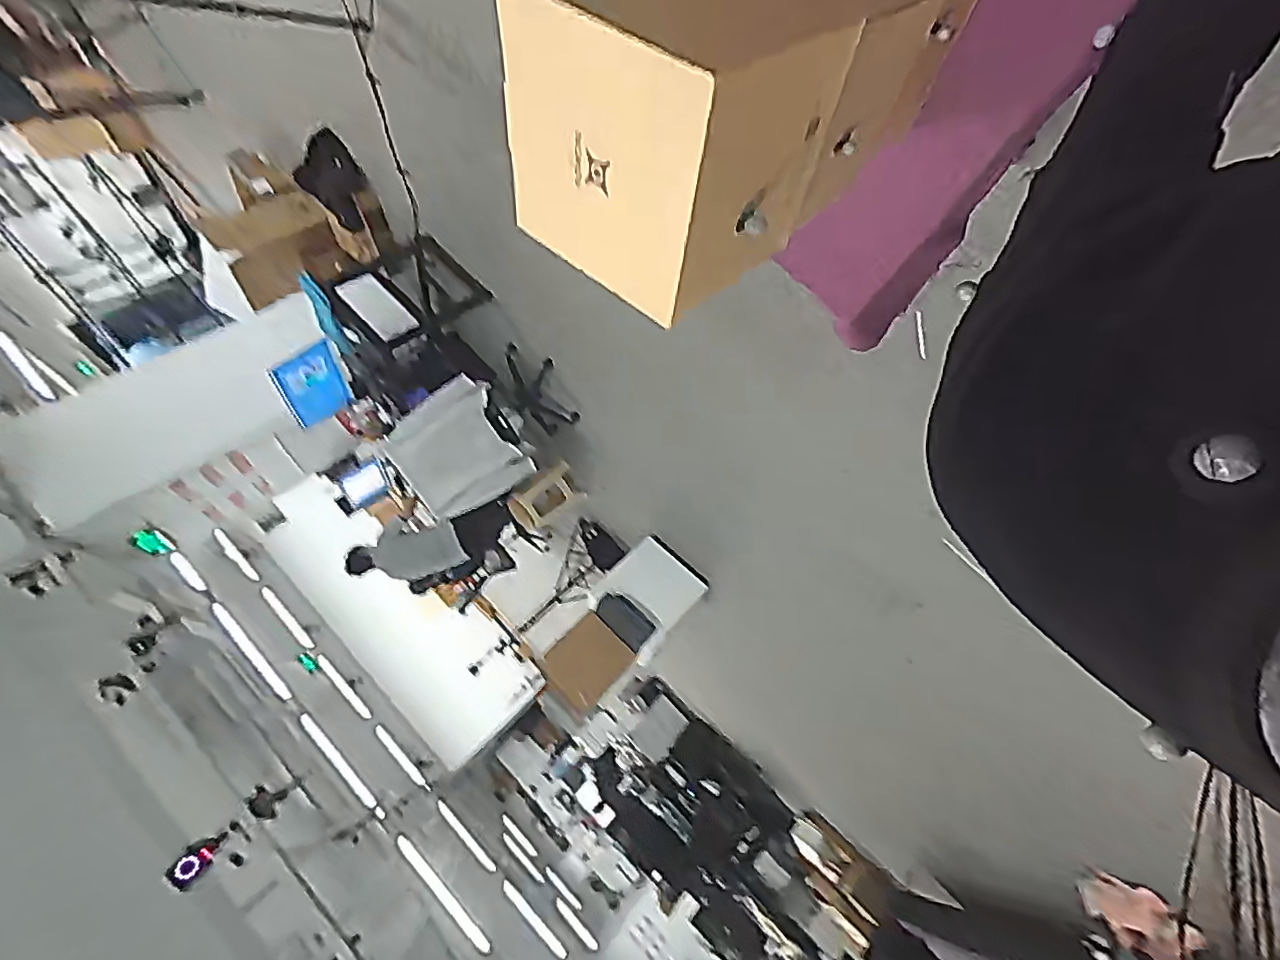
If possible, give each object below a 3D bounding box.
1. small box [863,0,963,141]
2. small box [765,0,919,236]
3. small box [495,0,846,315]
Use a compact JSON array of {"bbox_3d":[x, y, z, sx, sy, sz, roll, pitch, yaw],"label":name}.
[{"bbox_3d":[0.212,-0.480,0.569,0.179,0.176,0.168,42,152,15],"label":"small box"},{"bbox_3d":[0.119,-0.366,0.493,0.168,0.176,0.179,42,152,14],"label":"small box"},{"bbox_3d":[0.020,-0.267,0.409,0.179,0.176,0.168,40,151,18],"label":"small box"}]
